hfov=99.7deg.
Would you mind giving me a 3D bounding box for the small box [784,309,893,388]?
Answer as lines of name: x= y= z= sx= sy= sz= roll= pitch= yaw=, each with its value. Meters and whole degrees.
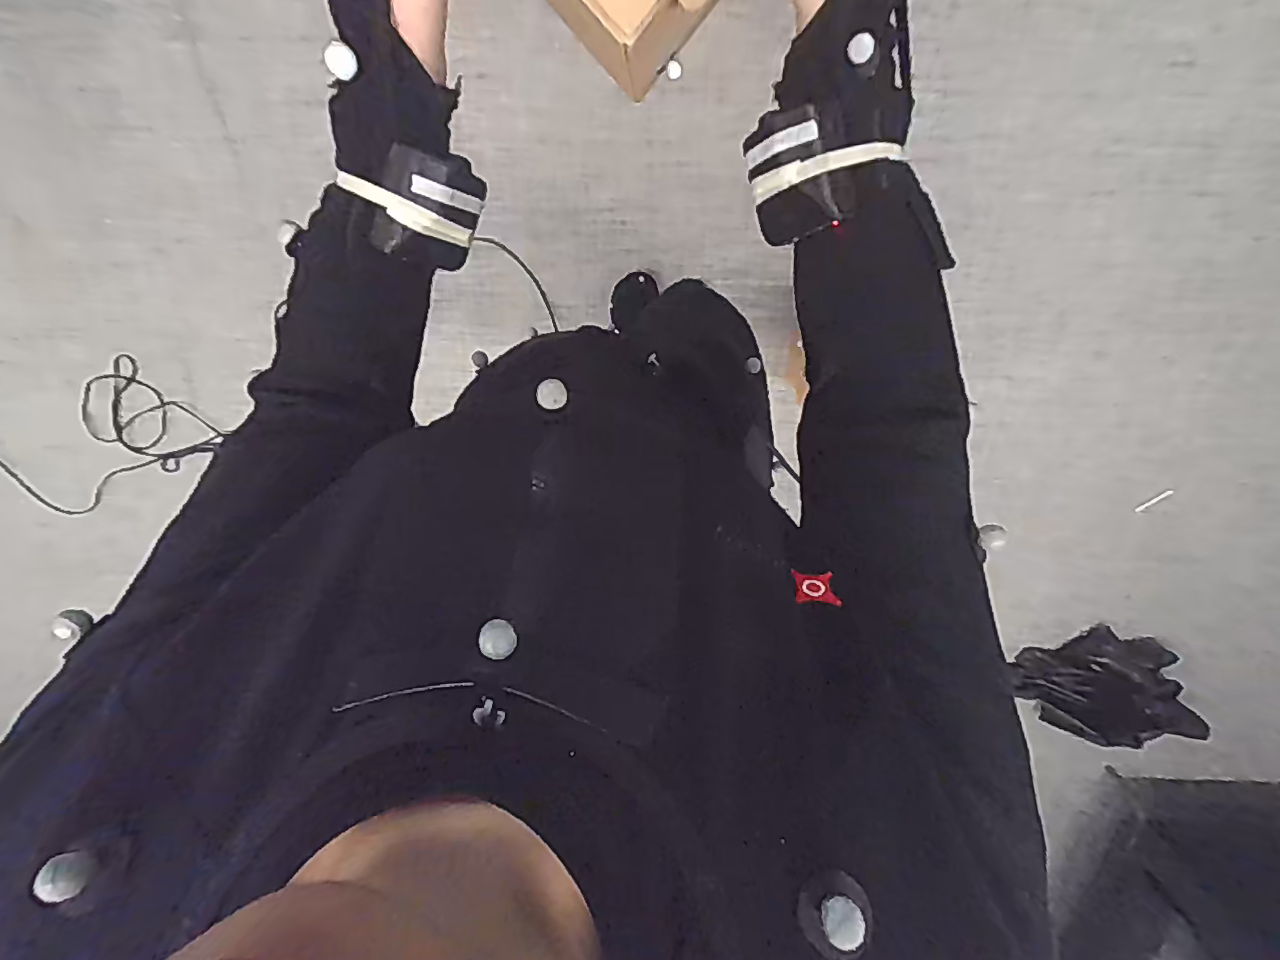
small box: x=0.428 y=-0.281 z=1.201 sx=0.168 sy=0.176 sz=0.179 roll=4 pitch=113 yaw=0
